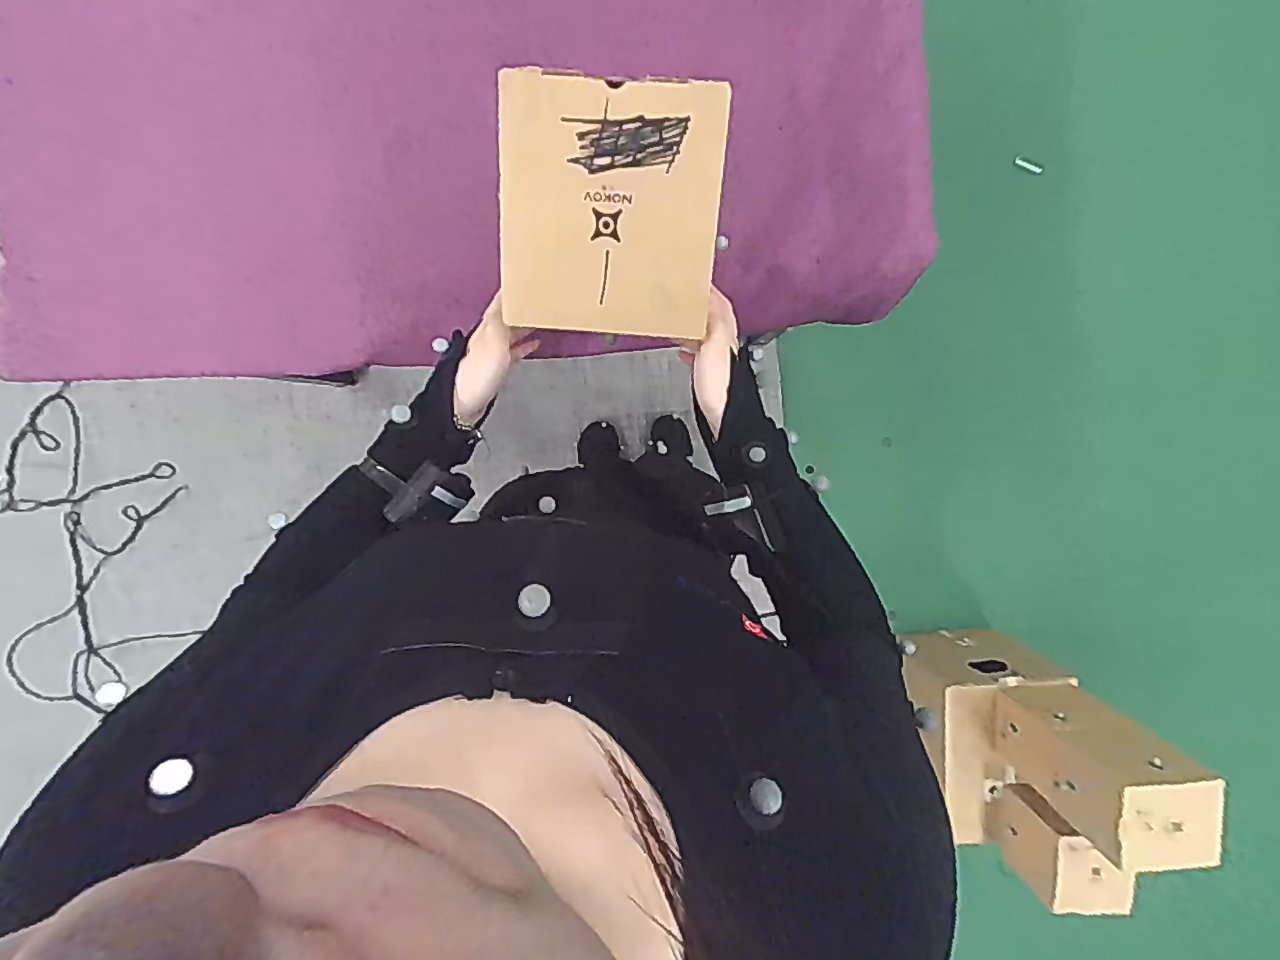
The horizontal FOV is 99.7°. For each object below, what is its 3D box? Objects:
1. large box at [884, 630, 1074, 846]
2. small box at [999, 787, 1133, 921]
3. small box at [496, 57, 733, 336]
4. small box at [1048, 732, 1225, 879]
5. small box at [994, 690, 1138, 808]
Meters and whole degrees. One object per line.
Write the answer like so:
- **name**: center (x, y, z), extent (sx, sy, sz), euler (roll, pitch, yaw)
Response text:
- **large box**: center (0.863, 0.650, 1.417), extent (0.320, 0.320, 0.408), euler (-4, 97, 1)
- **small box**: center (0.929, 0.815, 1.190), extent (0.168, 0.176, 0.179), euler (2, 96, -1)
- **small box**: center (-0.020, -0.224, 0.470), extent (0.168, 0.176, 0.179), euler (5, 108, 2)
- **small box**: center (0.906, 0.591, 1.001), extent (0.179, 0.176, 0.168), euler (-5, 97, 0)
- **small box**: center (0.907, 0.569, 1.165), extent (0.179, 0.176, 0.168), euler (-3, 97, 0)
